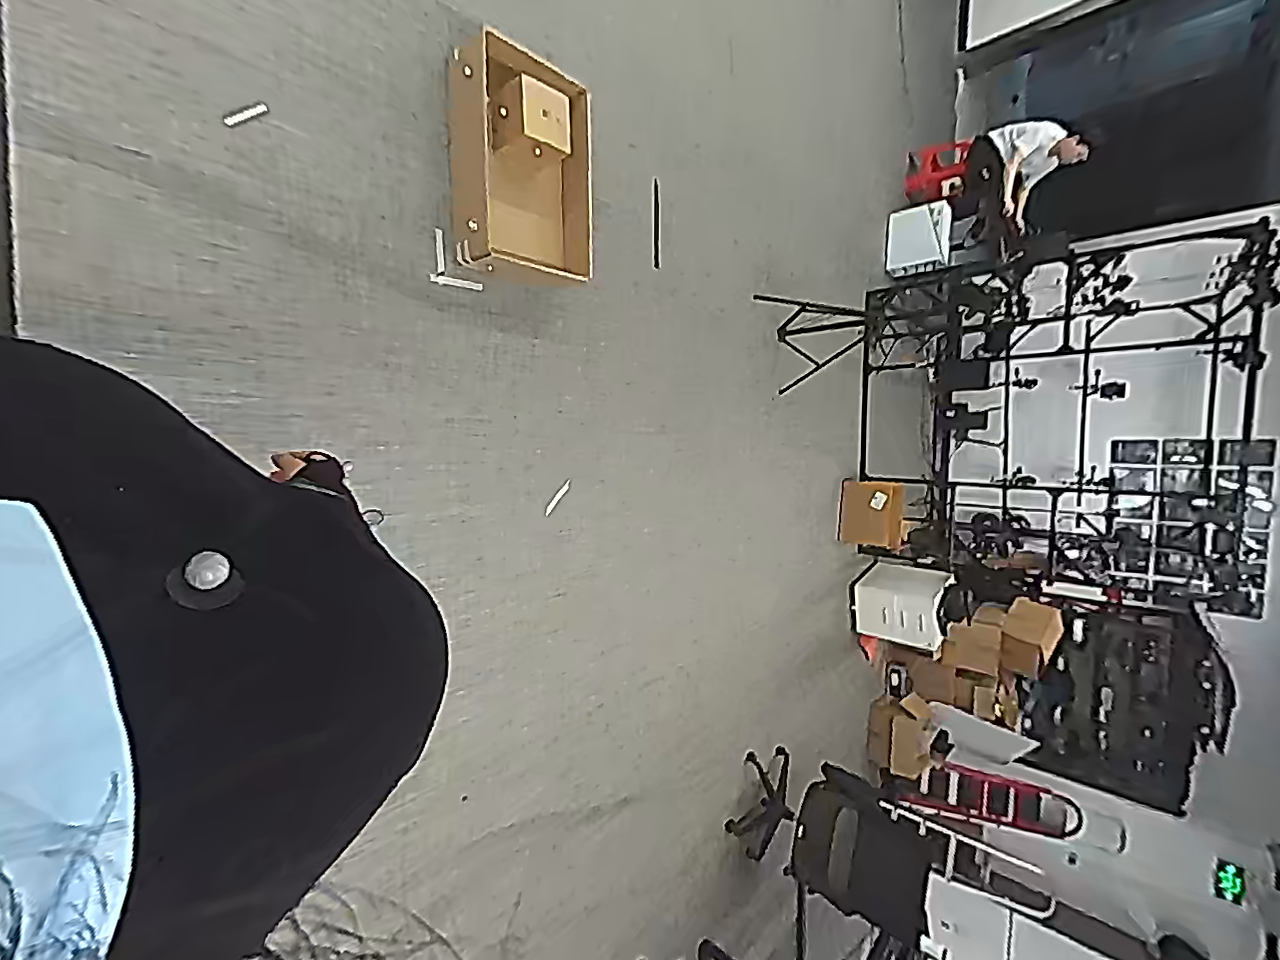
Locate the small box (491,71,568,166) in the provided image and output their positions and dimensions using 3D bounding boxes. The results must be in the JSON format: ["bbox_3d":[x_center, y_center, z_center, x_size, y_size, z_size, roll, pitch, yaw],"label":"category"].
[{"bbox_3d":[-0.342,-1.092,1.653,0.179,0.176,0.168,-8,101,-48],"label":"small box"}]
